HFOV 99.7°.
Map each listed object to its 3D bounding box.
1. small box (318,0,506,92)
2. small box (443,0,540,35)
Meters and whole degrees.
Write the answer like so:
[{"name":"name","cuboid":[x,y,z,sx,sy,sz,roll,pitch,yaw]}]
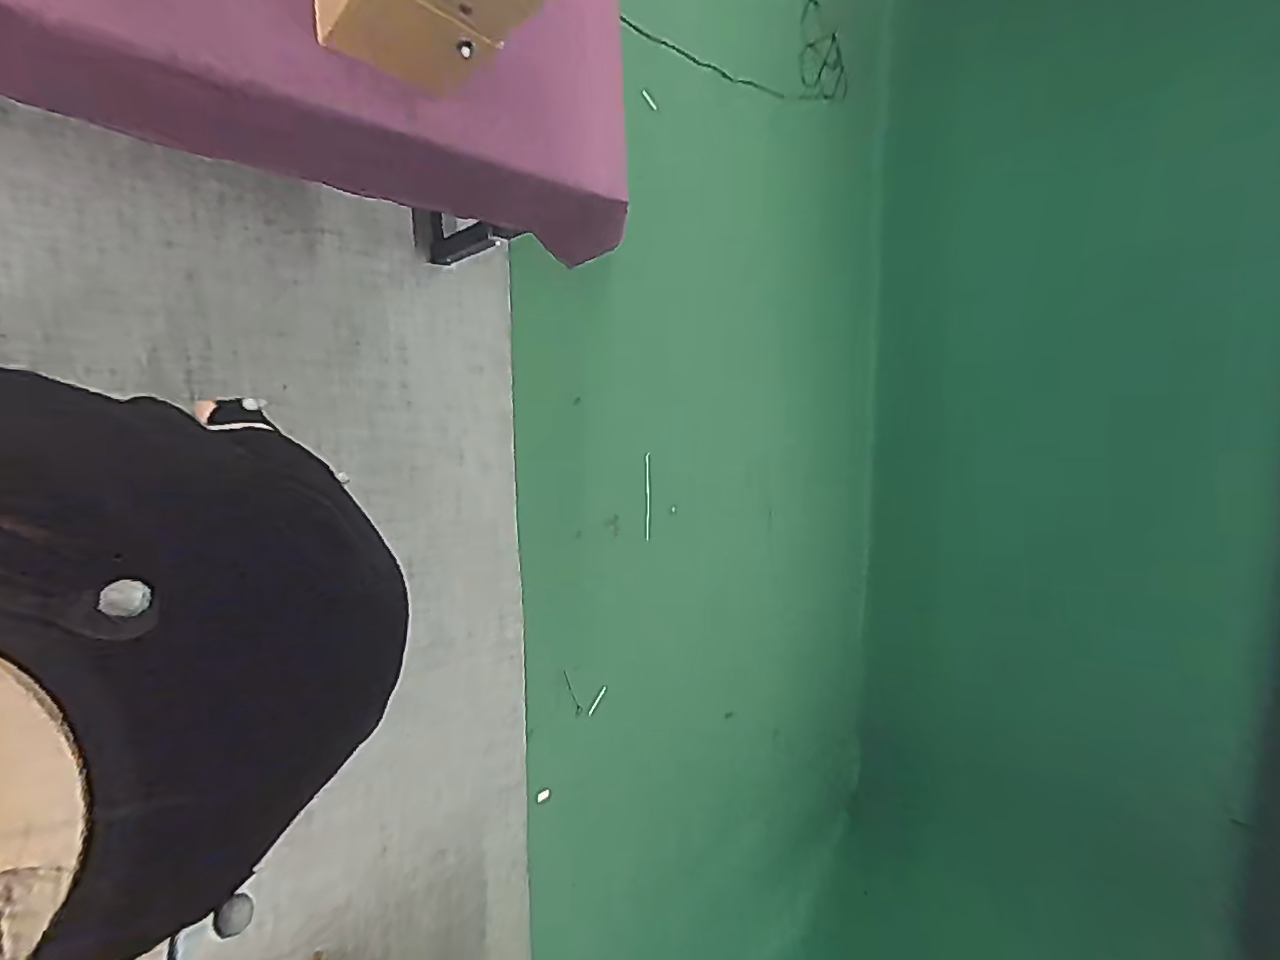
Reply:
[{"name":"small box","cuboid":[-0.293,-0.636,0.682,0.179,0.176,0.168,-8,99,-47]},{"name":"small box","cuboid":[-0.173,-0.630,0.568,0.168,0.176,0.179,-5,97,-47]}]
